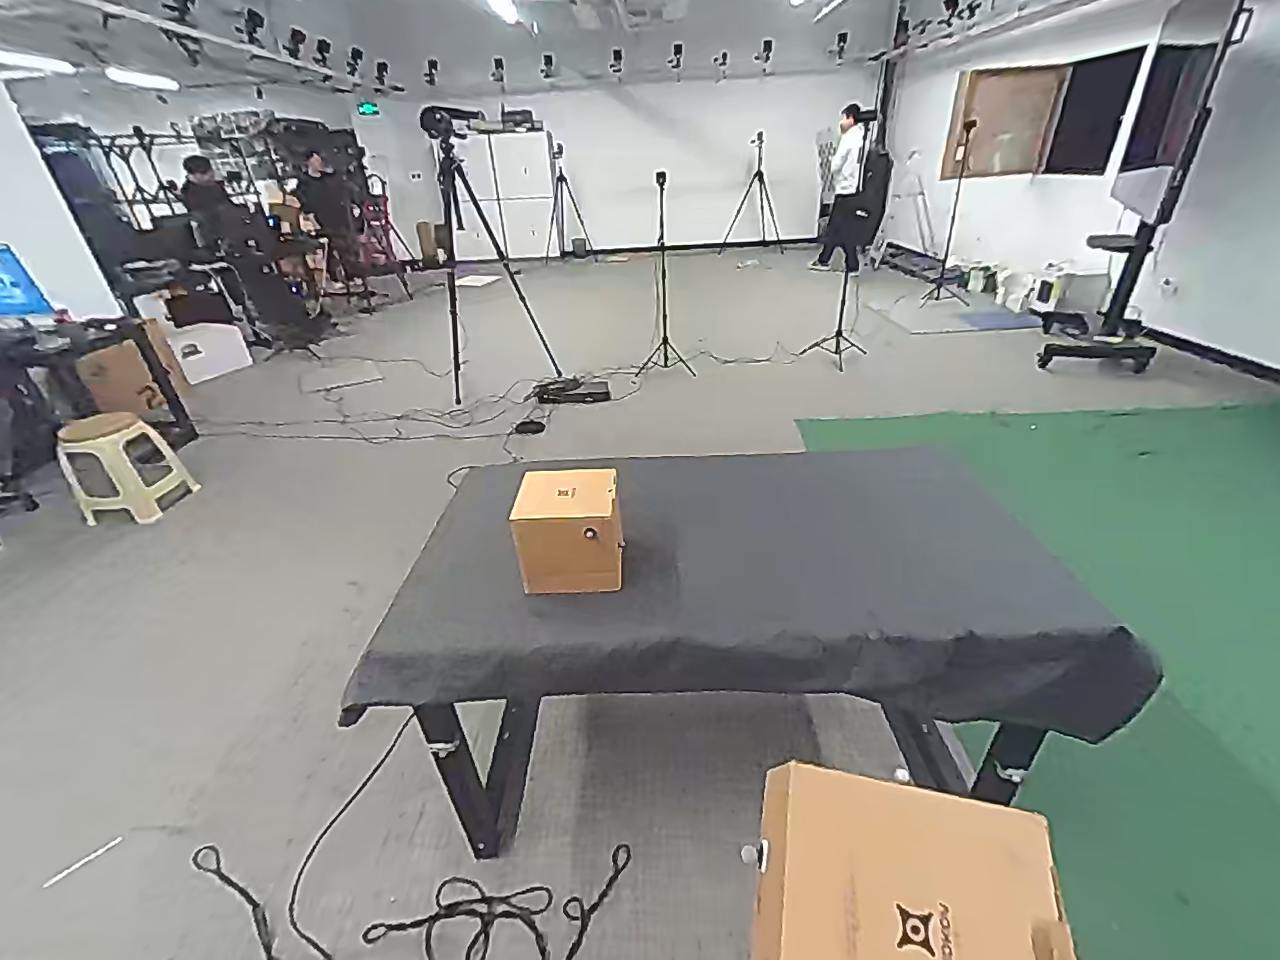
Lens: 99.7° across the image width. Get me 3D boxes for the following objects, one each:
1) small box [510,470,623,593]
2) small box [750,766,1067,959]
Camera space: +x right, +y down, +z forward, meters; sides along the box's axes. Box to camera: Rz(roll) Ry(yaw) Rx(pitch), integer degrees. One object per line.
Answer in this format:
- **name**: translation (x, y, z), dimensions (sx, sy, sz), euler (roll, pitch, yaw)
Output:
- **small box**: translation (-0.127, 0.096, 1.010), dimensions (0.179, 0.176, 0.168), euler (-2, 30, 1)
- **small box**: translation (0.184, 0.330, 0.412), dimensions (0.179, 0.176, 0.168), euler (6, 59, 11)
